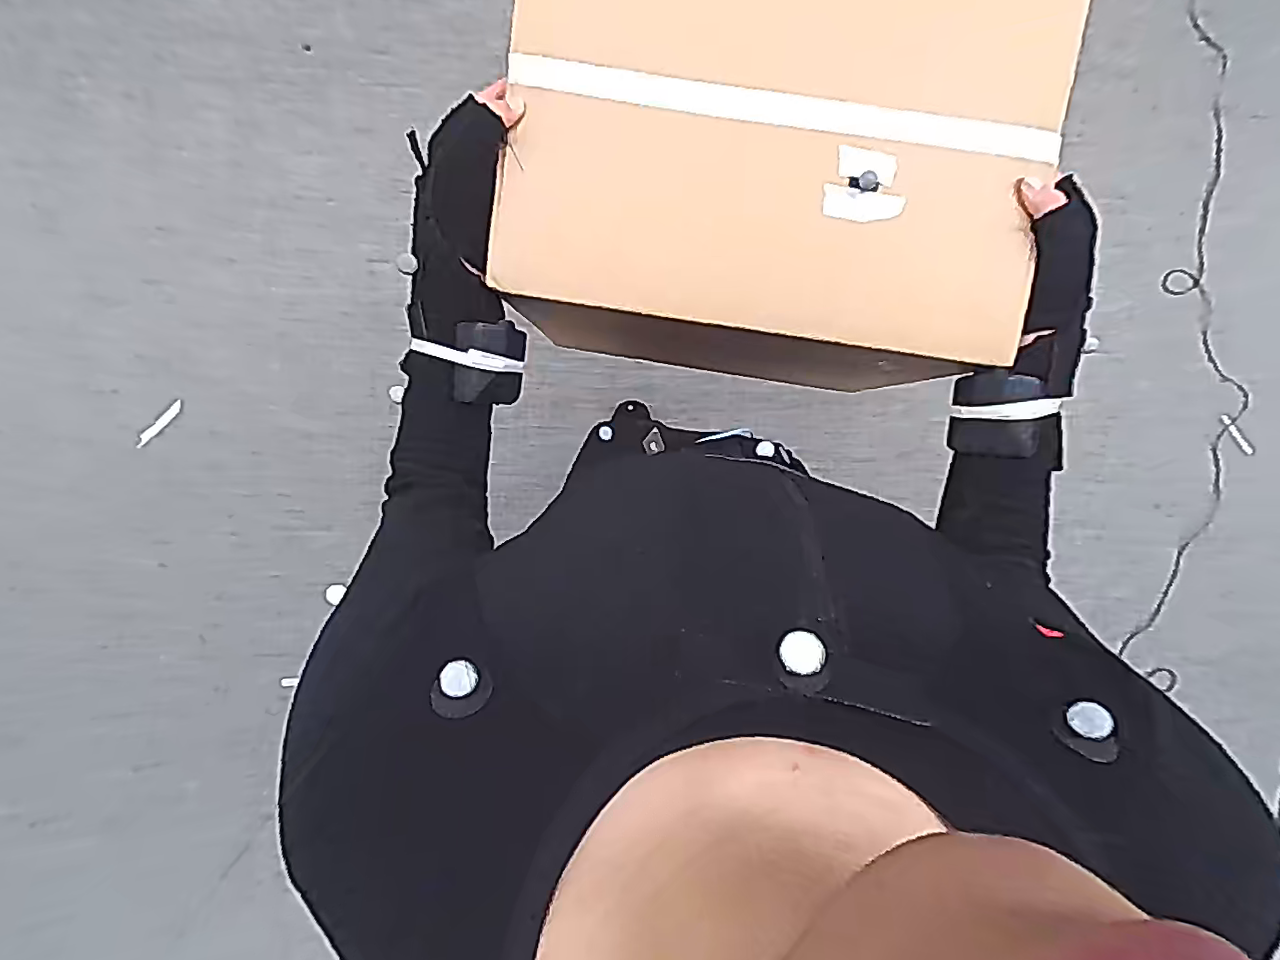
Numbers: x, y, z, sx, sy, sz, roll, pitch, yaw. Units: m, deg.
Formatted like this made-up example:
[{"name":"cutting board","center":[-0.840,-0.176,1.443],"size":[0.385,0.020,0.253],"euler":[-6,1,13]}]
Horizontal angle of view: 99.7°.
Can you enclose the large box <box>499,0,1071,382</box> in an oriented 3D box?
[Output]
[{"name":"large box","center":[0.103,-0.289,0.553],"size":[0.408,0.320,0.320],"euler":[8,97,-1]}]
